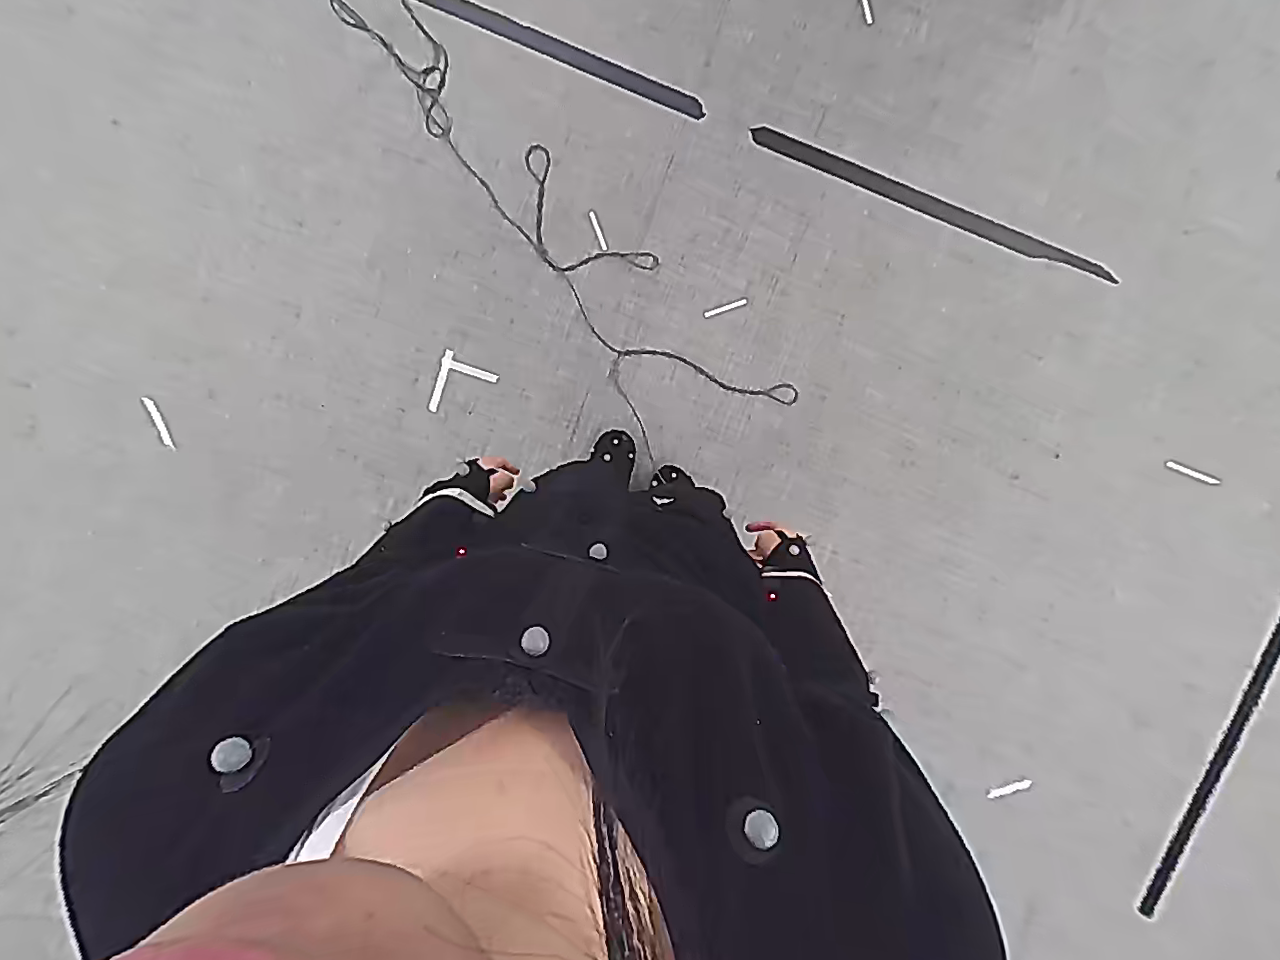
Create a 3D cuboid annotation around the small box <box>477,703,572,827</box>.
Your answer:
[{"bbox_3d":[-0.264,0.666,1.280,0.168,0.176,0.179,16,94,-2],"label":"small box"}]

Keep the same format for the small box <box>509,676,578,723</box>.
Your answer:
[{"bbox_3d":[-0.268,0.650,1.444,0.168,0.176,0.179,14,94,-1],"label":"small box"}]
